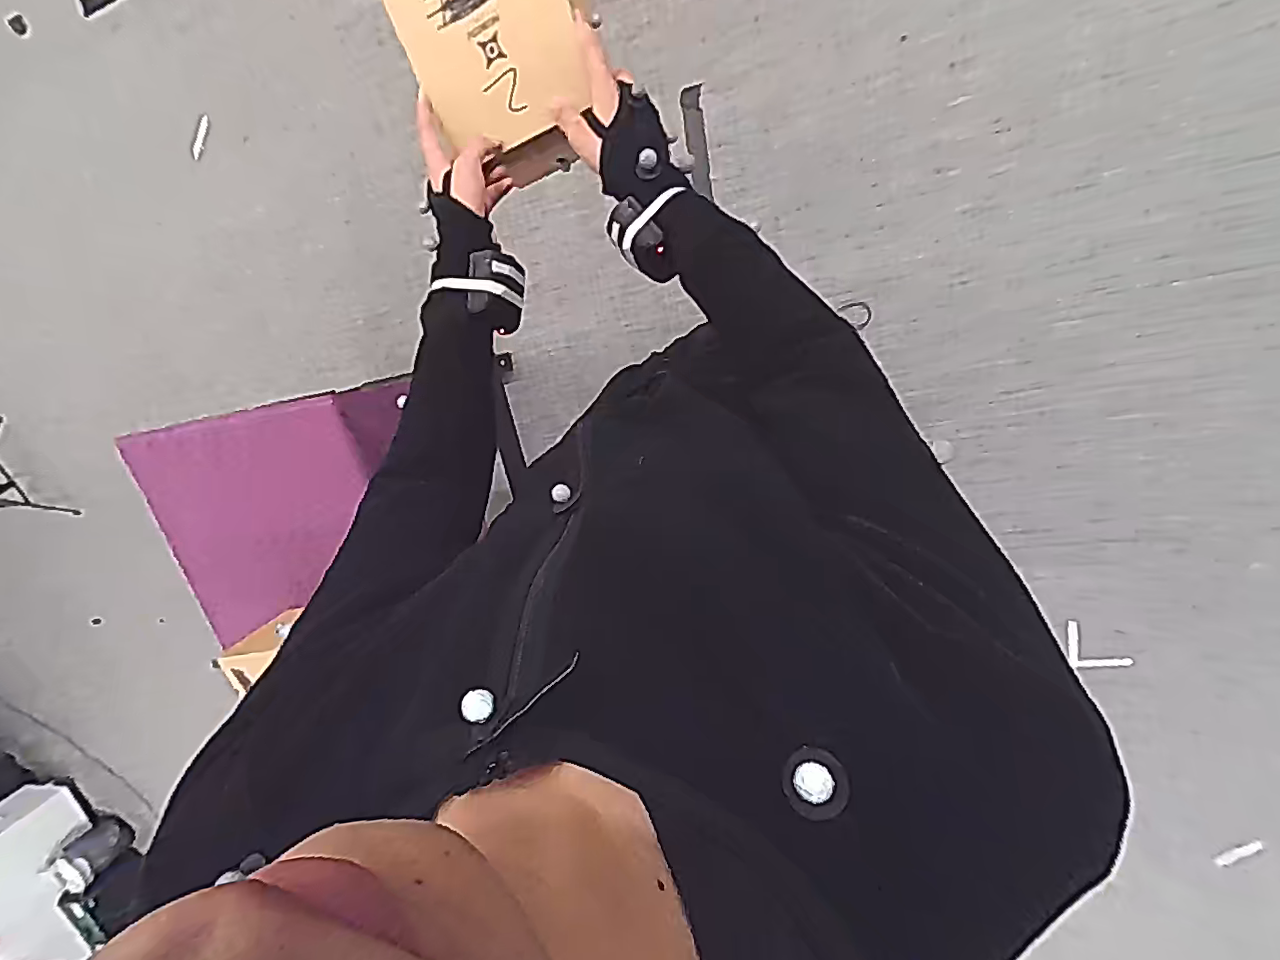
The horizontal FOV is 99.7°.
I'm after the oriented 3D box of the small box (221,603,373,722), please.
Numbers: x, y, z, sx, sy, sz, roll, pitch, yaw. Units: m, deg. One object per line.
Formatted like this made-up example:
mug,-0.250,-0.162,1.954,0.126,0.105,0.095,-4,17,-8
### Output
small box,-0.711,0.380,1.139,0.179,0.176,0.168,-13,106,18
